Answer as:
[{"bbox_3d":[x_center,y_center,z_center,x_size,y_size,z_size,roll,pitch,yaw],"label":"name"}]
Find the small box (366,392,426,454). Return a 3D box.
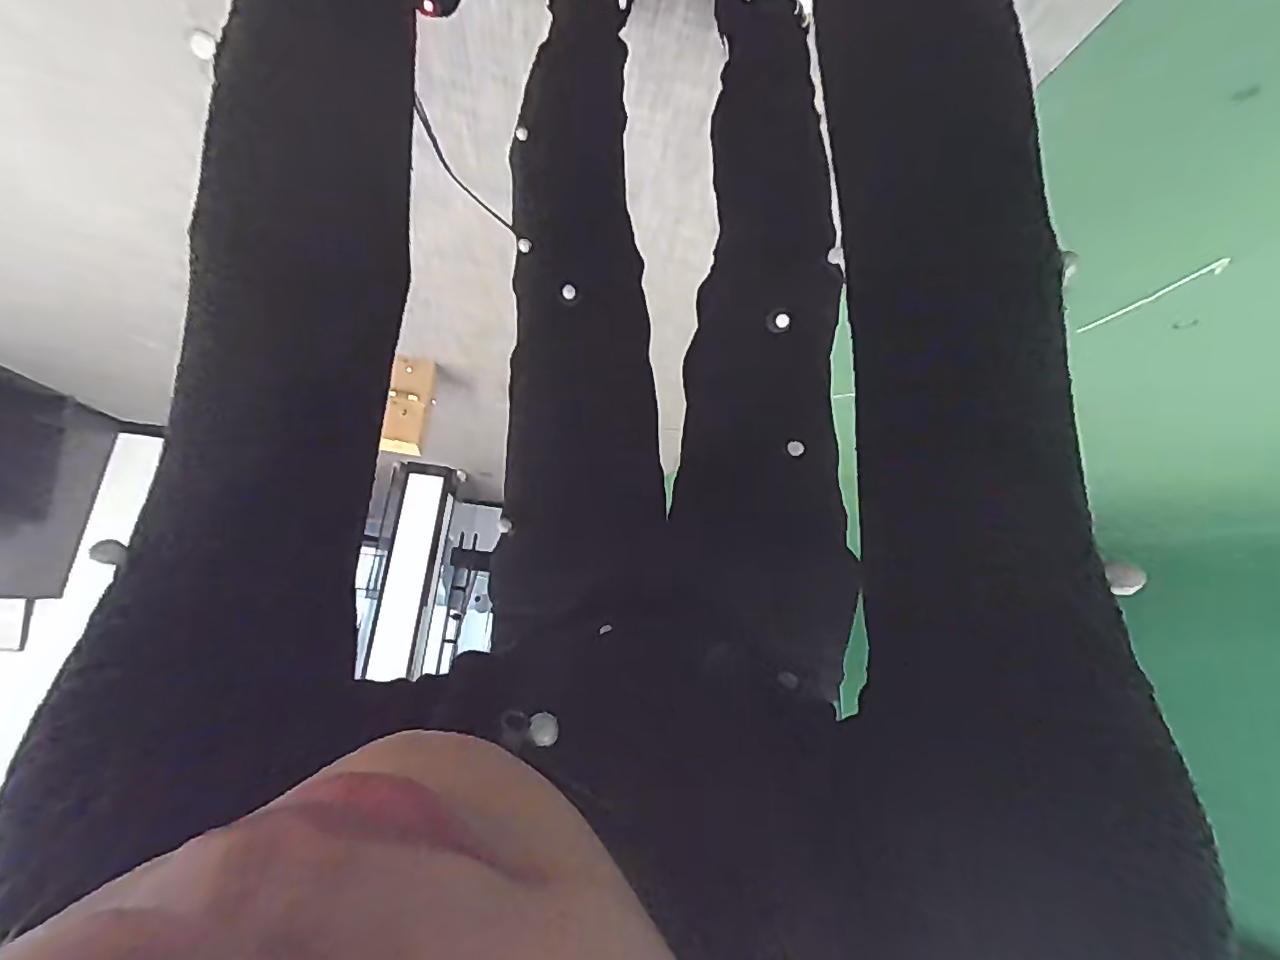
[{"bbox_3d":[-0.908,-0.211,2.029,0.168,0.176,0.179,11,165,-15],"label":"small box"}]

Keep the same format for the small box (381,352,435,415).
[{"bbox_3d":[-0.883,-0.365,2.066,0.168,0.176,0.179,9,165,-21],"label":"small box"}]
